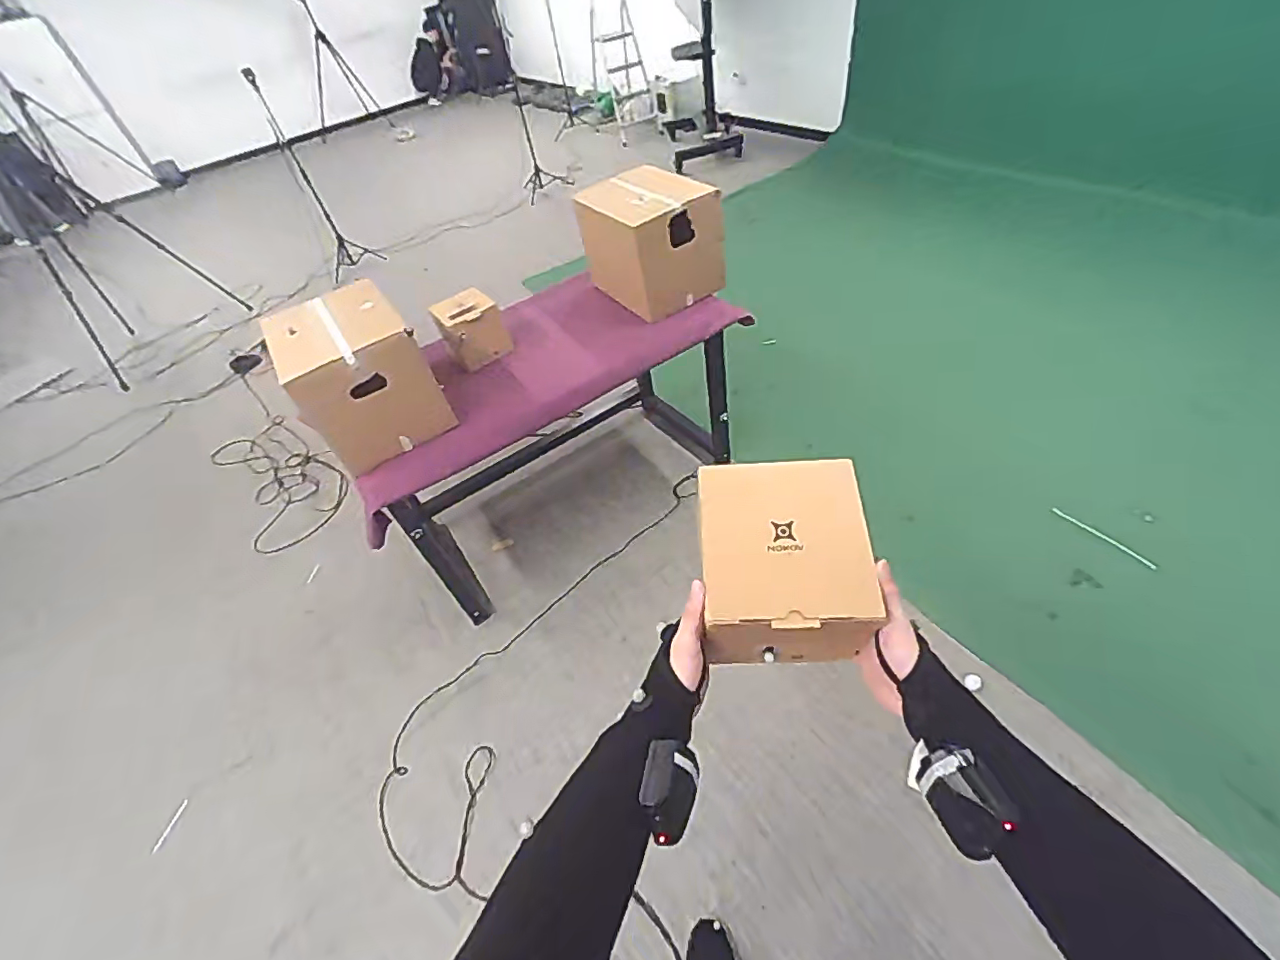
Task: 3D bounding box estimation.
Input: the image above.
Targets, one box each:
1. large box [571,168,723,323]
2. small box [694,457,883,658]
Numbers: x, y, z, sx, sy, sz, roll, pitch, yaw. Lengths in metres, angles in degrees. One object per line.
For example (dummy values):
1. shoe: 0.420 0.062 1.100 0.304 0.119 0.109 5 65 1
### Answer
1. large box: 0.027 -0.776 1.772 0.320 0.320 0.408 -31 49 -15
2. small box: 0.148 0.093 0.609 0.168 0.176 0.179 -3 60 4
